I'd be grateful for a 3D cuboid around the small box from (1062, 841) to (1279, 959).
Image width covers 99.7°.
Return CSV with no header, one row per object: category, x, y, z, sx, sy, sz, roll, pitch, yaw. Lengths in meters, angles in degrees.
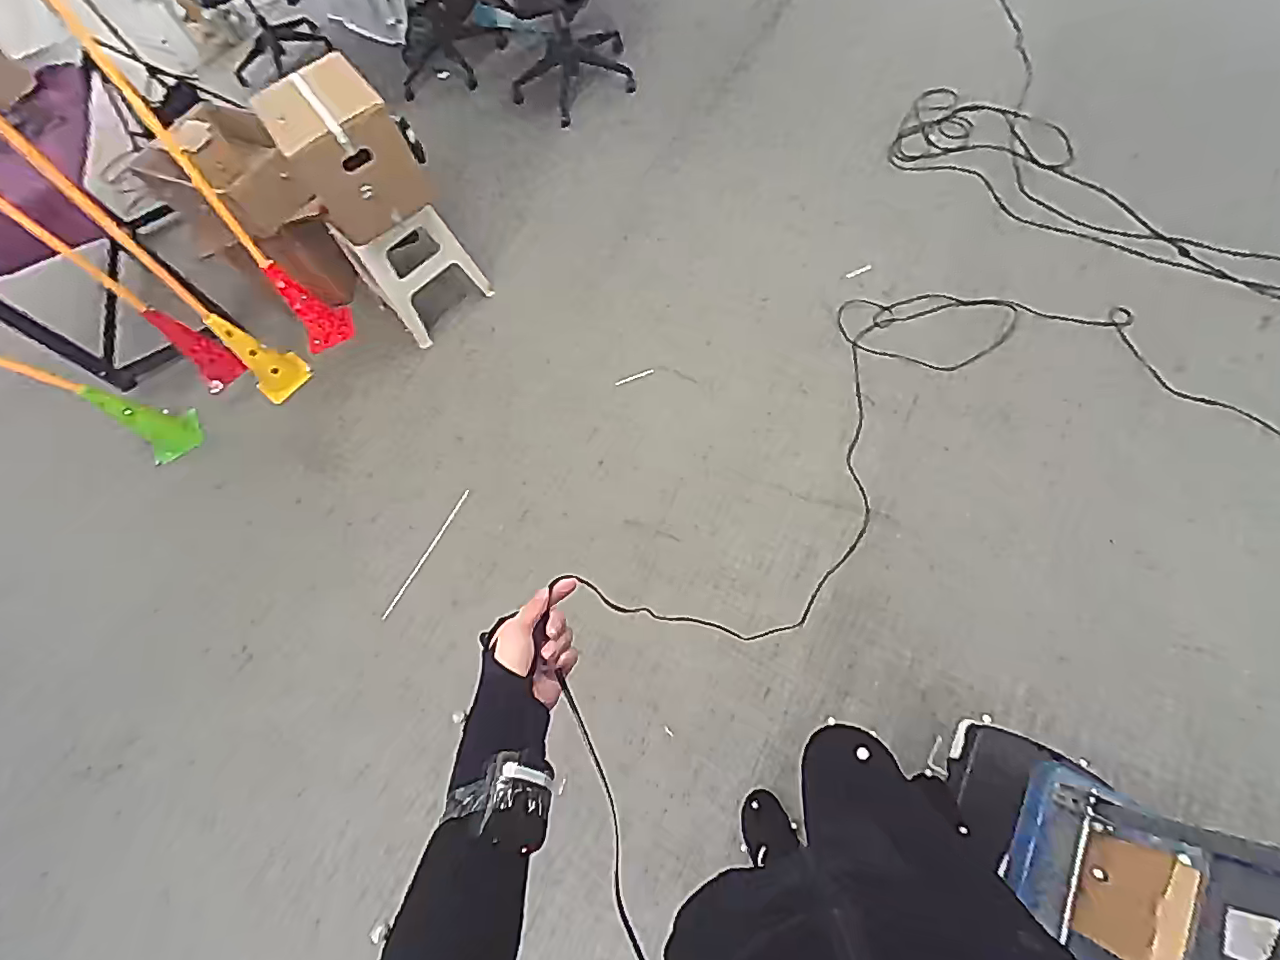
small box,0.816,0.702,0.834,0.179,0.176,0.168,31,74,13
